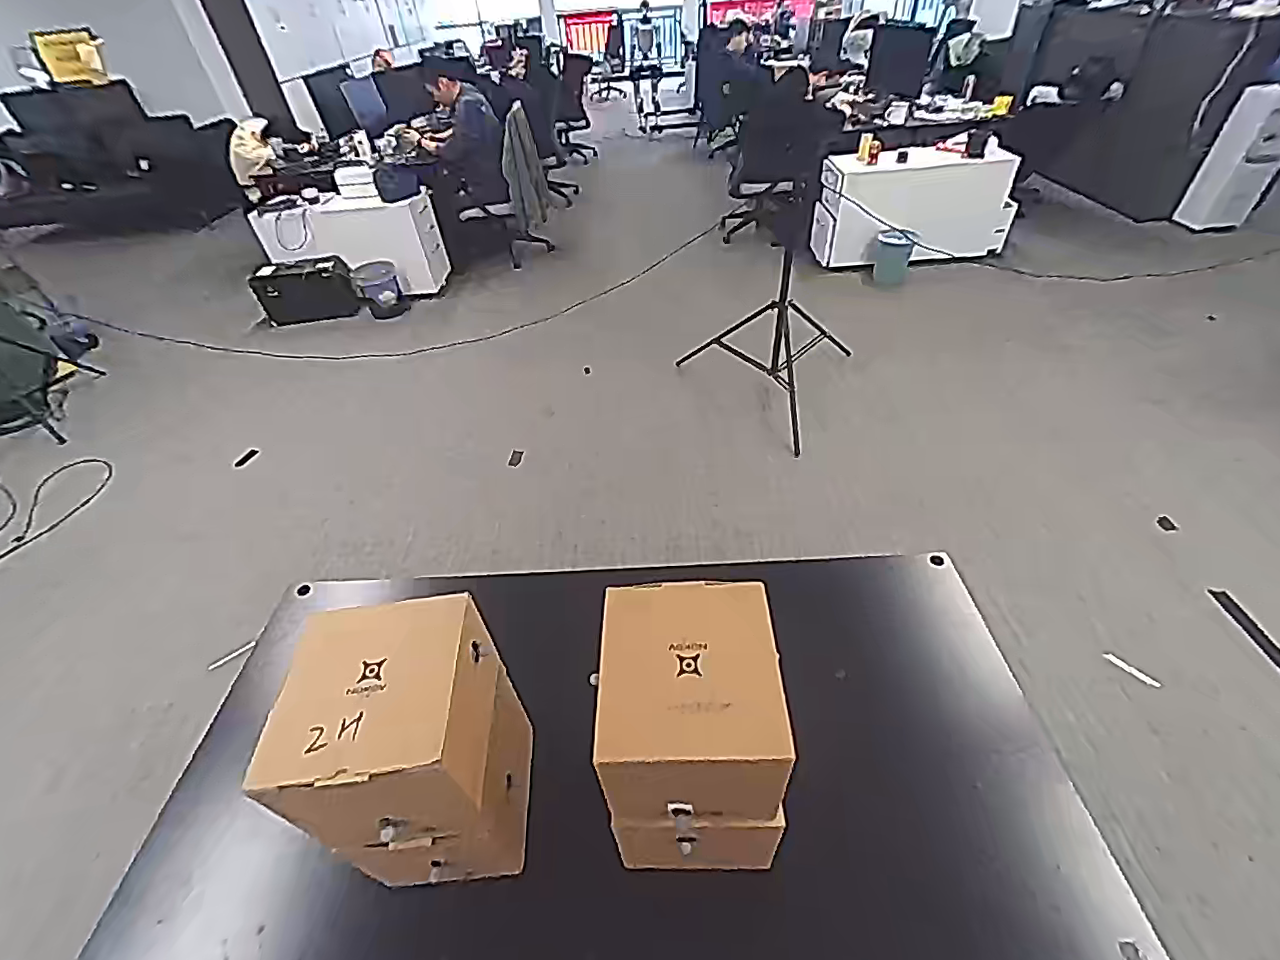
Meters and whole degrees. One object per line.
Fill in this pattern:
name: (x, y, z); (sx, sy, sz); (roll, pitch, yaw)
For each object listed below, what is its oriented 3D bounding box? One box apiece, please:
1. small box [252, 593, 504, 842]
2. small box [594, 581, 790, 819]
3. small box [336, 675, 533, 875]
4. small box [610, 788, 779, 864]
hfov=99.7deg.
small box: (-0.246, 0.246, 0.566); (0.168, 0.176, 0.179); (-7, 42, -1)
small box: (0.049, 0.227, 0.560); (0.168, 0.176, 0.179); (-4, 43, 4)
small box: (-0.235, 0.371, 0.675); (0.168, 0.176, 0.179); (-6, 43, 0)
small box: (0.064, 0.352, 0.662); (0.179, 0.176, 0.168); (-2, 42, 3)
